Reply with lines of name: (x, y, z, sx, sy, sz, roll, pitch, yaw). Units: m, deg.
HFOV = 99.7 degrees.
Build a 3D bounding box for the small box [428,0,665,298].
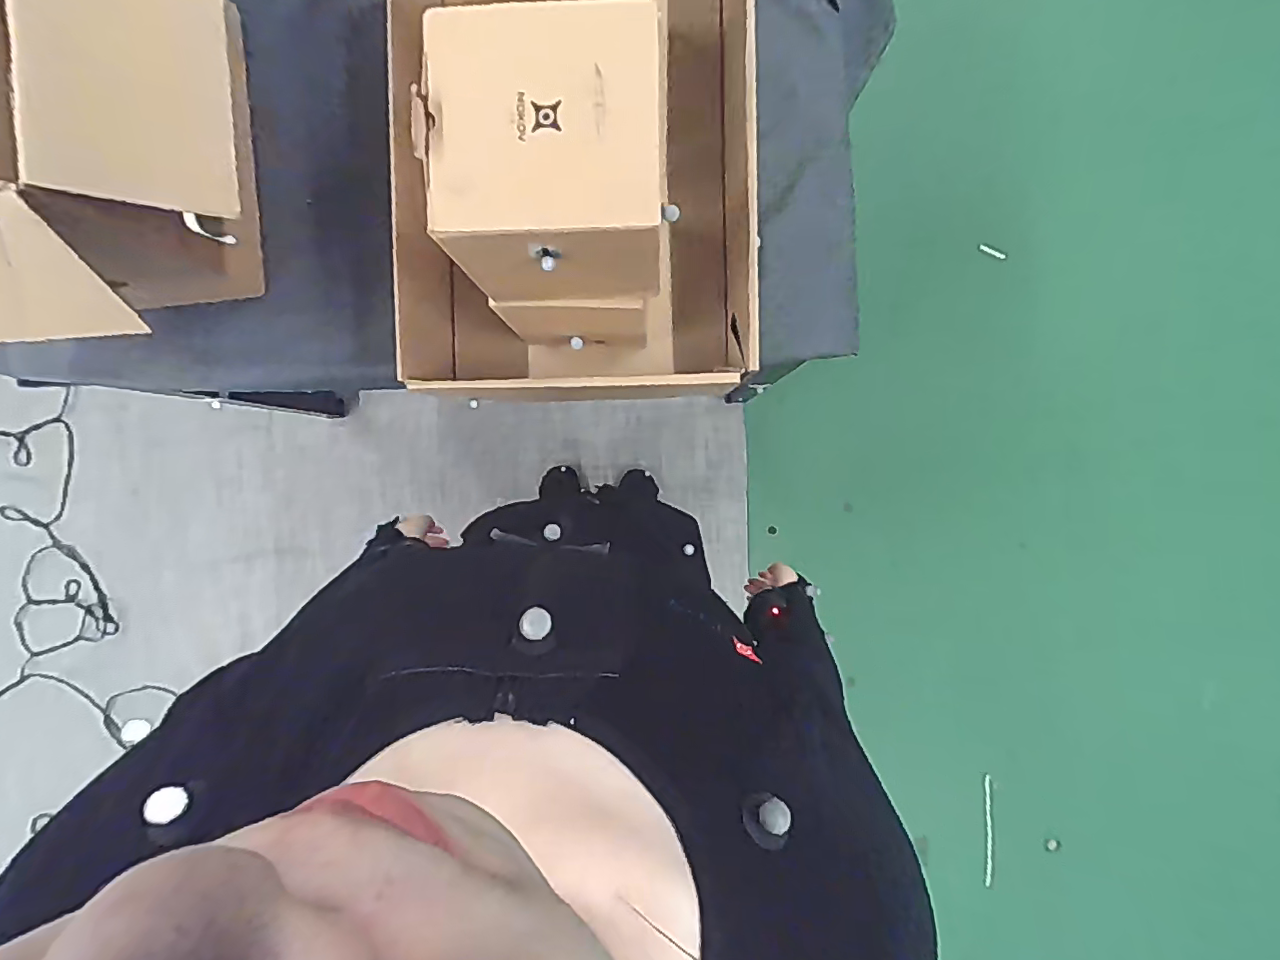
small box: (-0.066, -0.268, 0.478, 0.179, 0.176, 0.168, -1, 92, 2)
